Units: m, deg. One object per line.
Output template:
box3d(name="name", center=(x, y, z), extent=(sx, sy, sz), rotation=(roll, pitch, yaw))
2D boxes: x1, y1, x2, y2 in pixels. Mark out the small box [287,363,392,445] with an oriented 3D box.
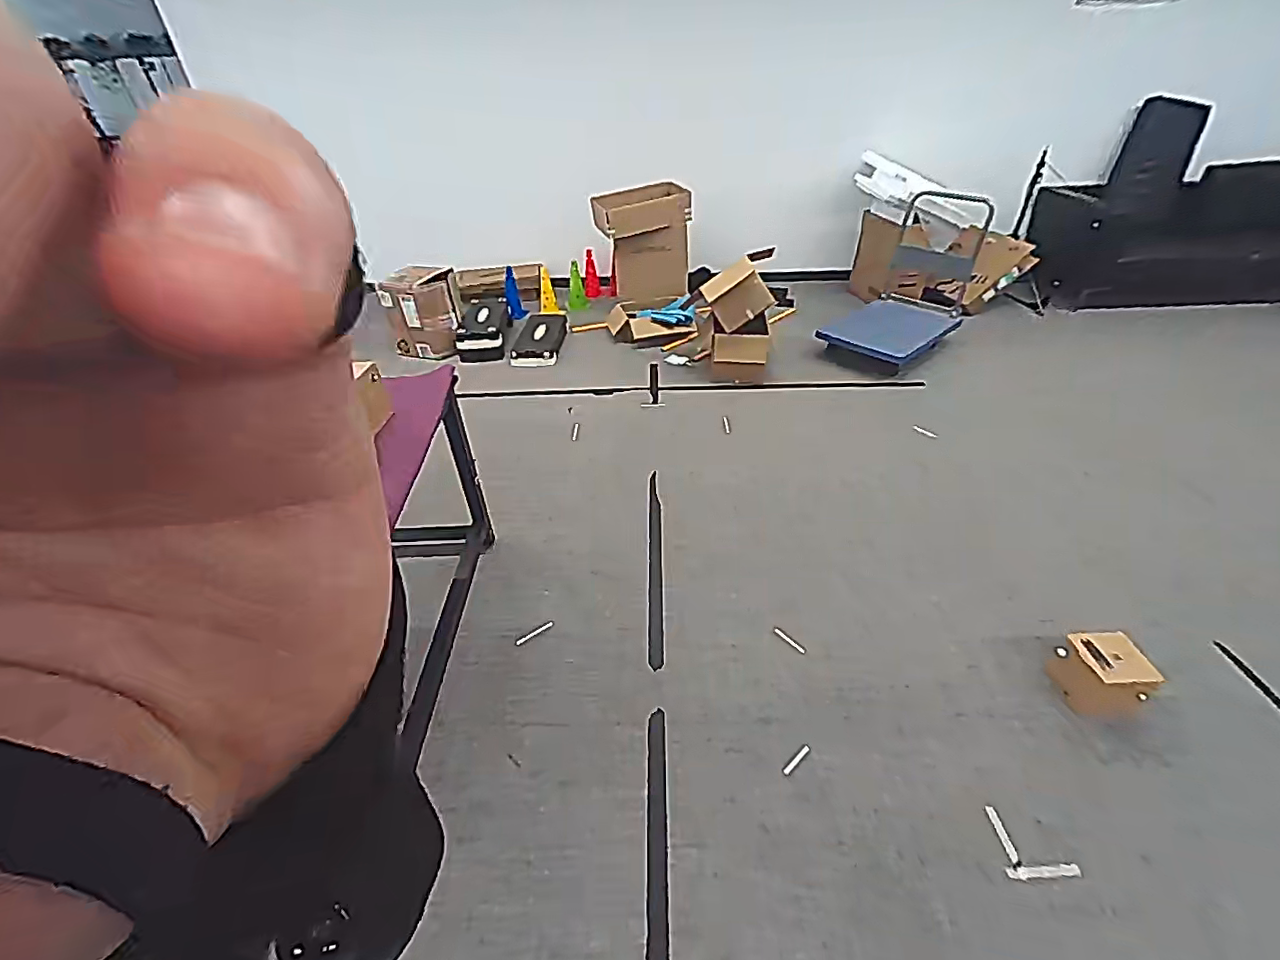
box3d(name="small box", center=(-0.816, -0.206, 1.493), extent=(0.168, 0.176, 0.179), rotation=(-1, 37, 4))
